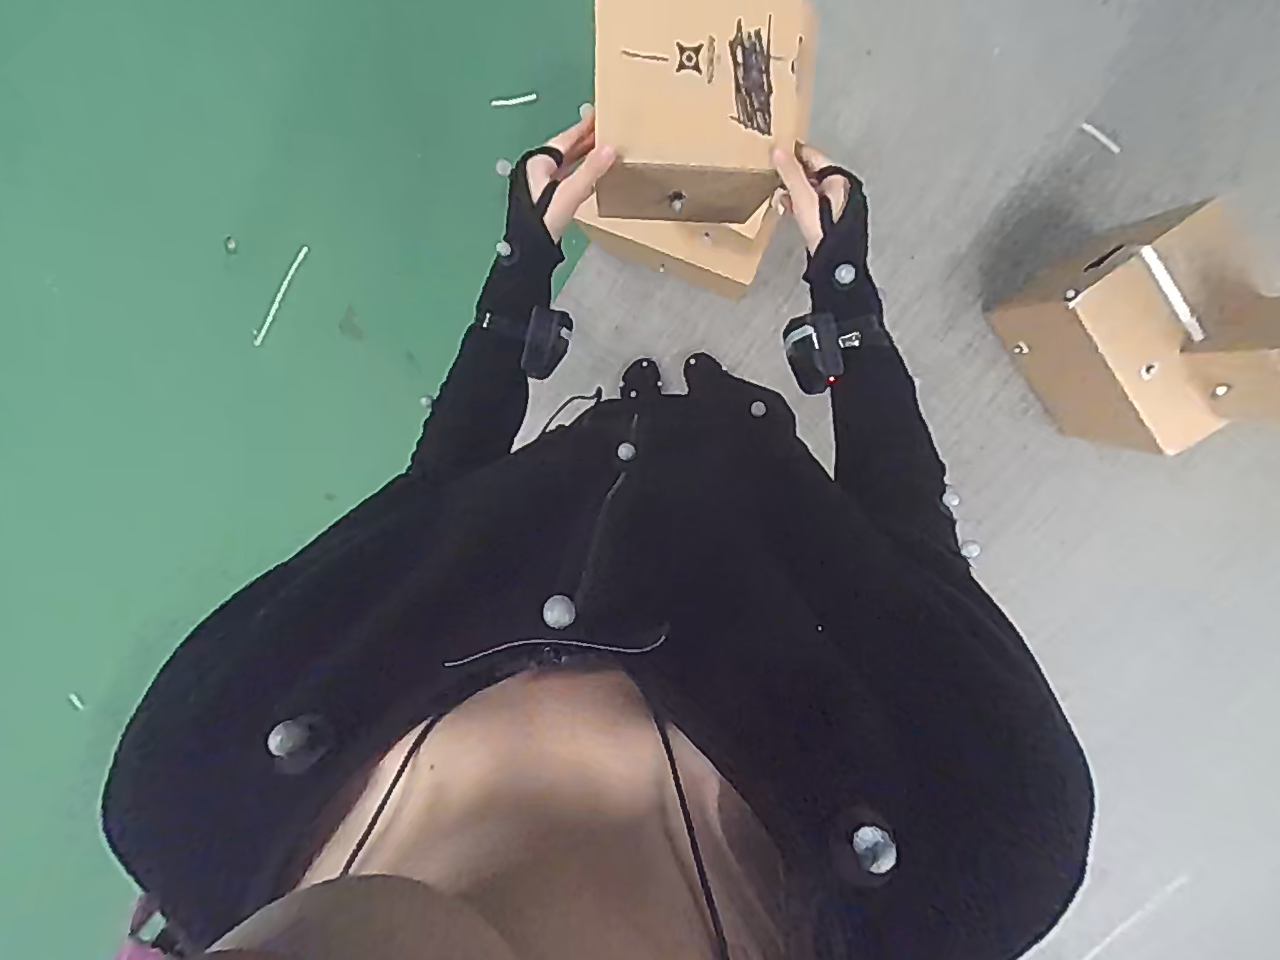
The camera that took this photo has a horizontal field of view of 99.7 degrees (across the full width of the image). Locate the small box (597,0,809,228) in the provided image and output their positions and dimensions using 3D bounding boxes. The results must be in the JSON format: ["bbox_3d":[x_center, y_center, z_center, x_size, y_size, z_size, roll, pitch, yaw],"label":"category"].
[{"bbox_3d":[0.048,-0.358,0.530,0.179,0.176,0.168,0,100,-3],"label":"small box"}]

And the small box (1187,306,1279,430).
[{"bbox_3d":[1.172,-0.207,0.973,0.179,0.176,0.168,-36,97,9],"label":"small box"}]

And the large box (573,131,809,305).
[{"bbox_3d":[0.112,-0.625,1.226,0.408,0.320,0.320,21,102,2],"label":"large box"}]

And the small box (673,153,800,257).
[{"bbox_3d":[0.163,-0.527,0.990,0.179,0.176,0.168,25,103,-1],"label":"small box"}]
